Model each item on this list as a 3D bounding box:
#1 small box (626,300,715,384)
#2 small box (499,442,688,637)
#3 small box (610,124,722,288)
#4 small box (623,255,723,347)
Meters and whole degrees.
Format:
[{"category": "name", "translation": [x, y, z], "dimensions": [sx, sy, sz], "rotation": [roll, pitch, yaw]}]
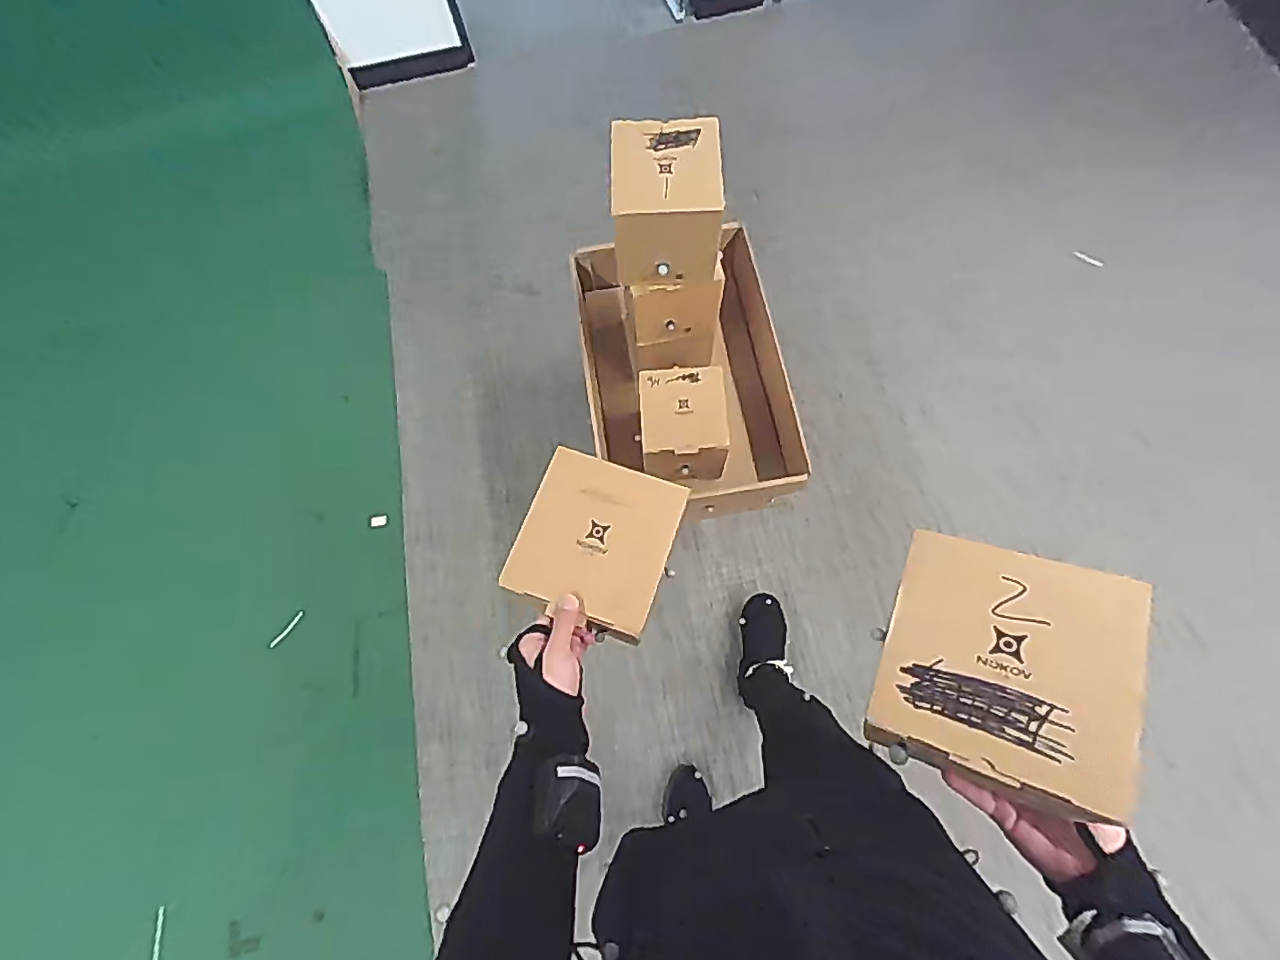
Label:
[{"category": "small box", "translation": [0.062, -0.337, 1.191], "dimensions": [0.168, 0.176, 0.179], "rotation": [-10, 72, 0]}, {"category": "small box", "translation": [-0.049, 0.084, 0.676], "dimensions": [0.168, 0.176, 0.179], "rotation": [19, 69, 6]}, {"category": "small box", "translation": [0.040, -0.438, 0.881], "dimensions": [0.168, 0.176, 0.179], "rotation": [-1, 73, 3]}, {"category": "small box", "translation": [0.054, -0.384, 1.036], "dimensions": [0.168, 0.176, 0.179], "rotation": [-11, 72, -1]}]
